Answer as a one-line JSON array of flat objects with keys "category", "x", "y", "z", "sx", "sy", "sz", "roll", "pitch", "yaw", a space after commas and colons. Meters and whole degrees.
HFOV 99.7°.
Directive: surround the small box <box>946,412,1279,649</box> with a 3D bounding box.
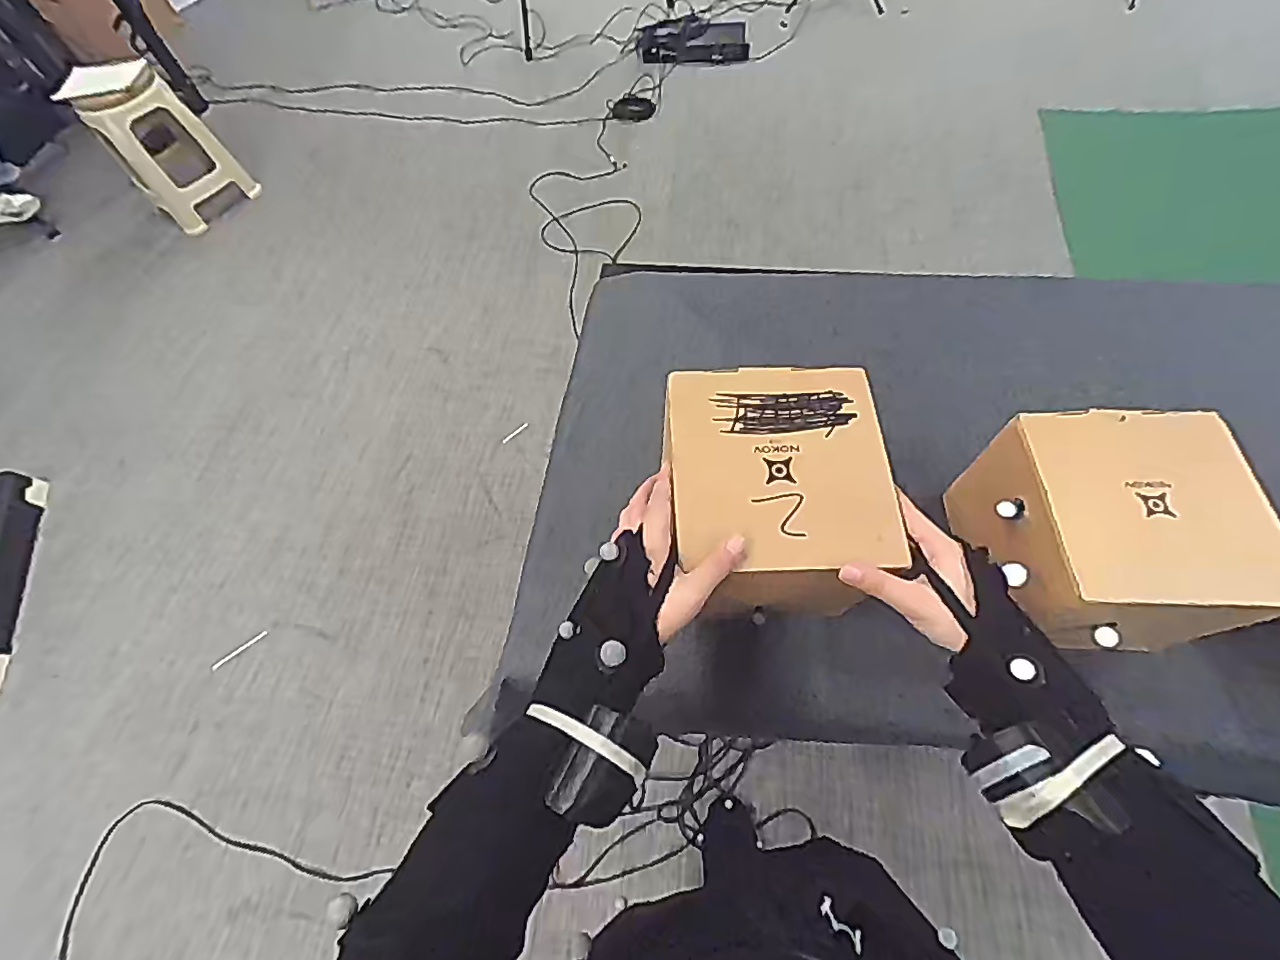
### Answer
[{"category": "small box", "x": 0.420, "y": 0.055, "z": 0.508, "sx": 0.168, "sy": 0.176, "sz": 0.179, "roll": 0, "pitch": 61, "yaw": 5}]
